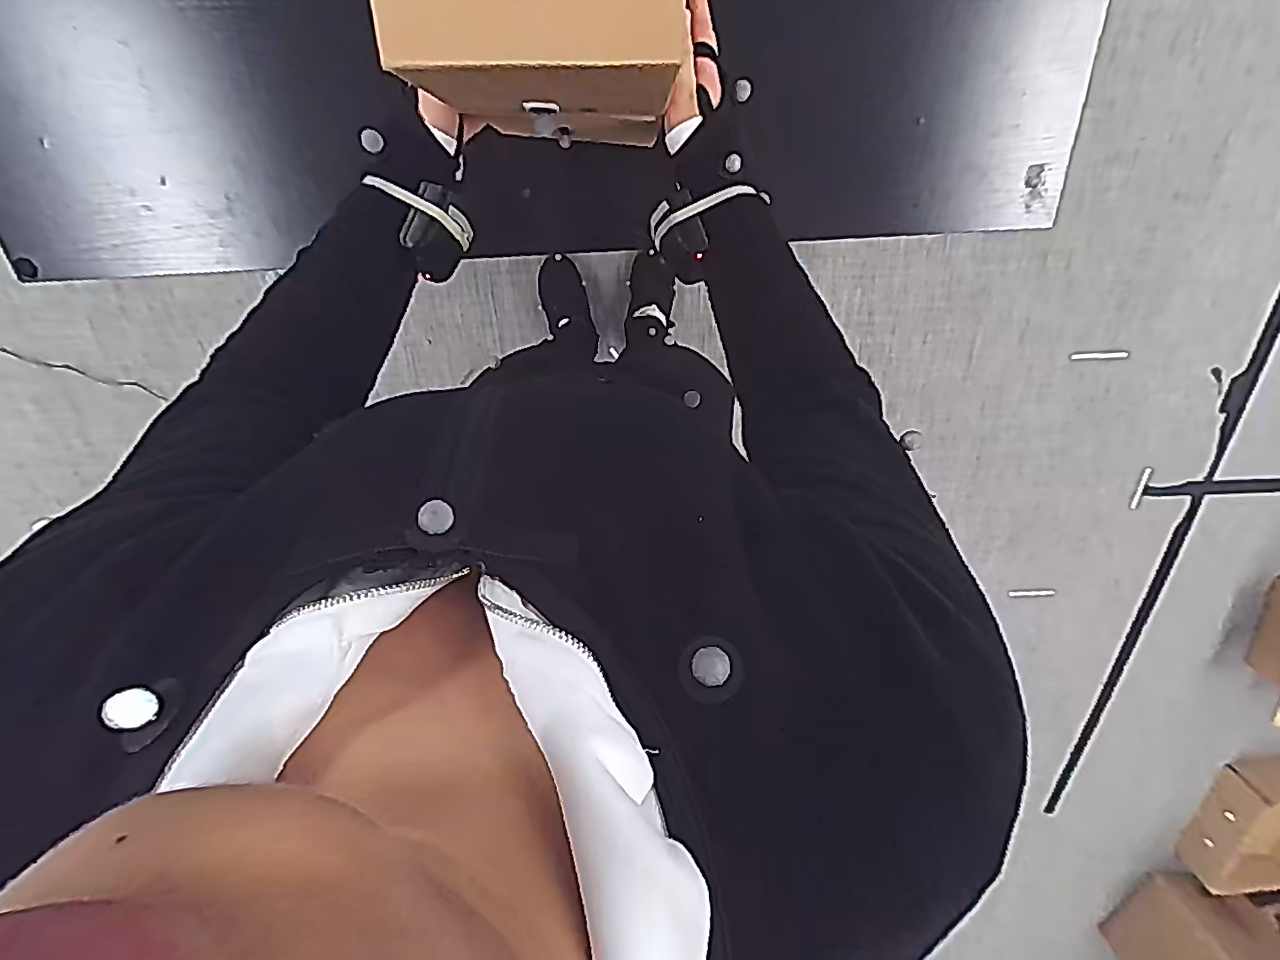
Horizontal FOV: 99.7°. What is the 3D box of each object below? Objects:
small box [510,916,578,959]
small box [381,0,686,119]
[{"bbox_3d":[-0.302,1.514,1.698,0.179,0.176,0.168,-10,112,4],"label":"small box"},{"bbox_3d":[-0.059,-0.342,0.336,0.168,0.176,0.179,-1,117,0],"label":"small box"}]
